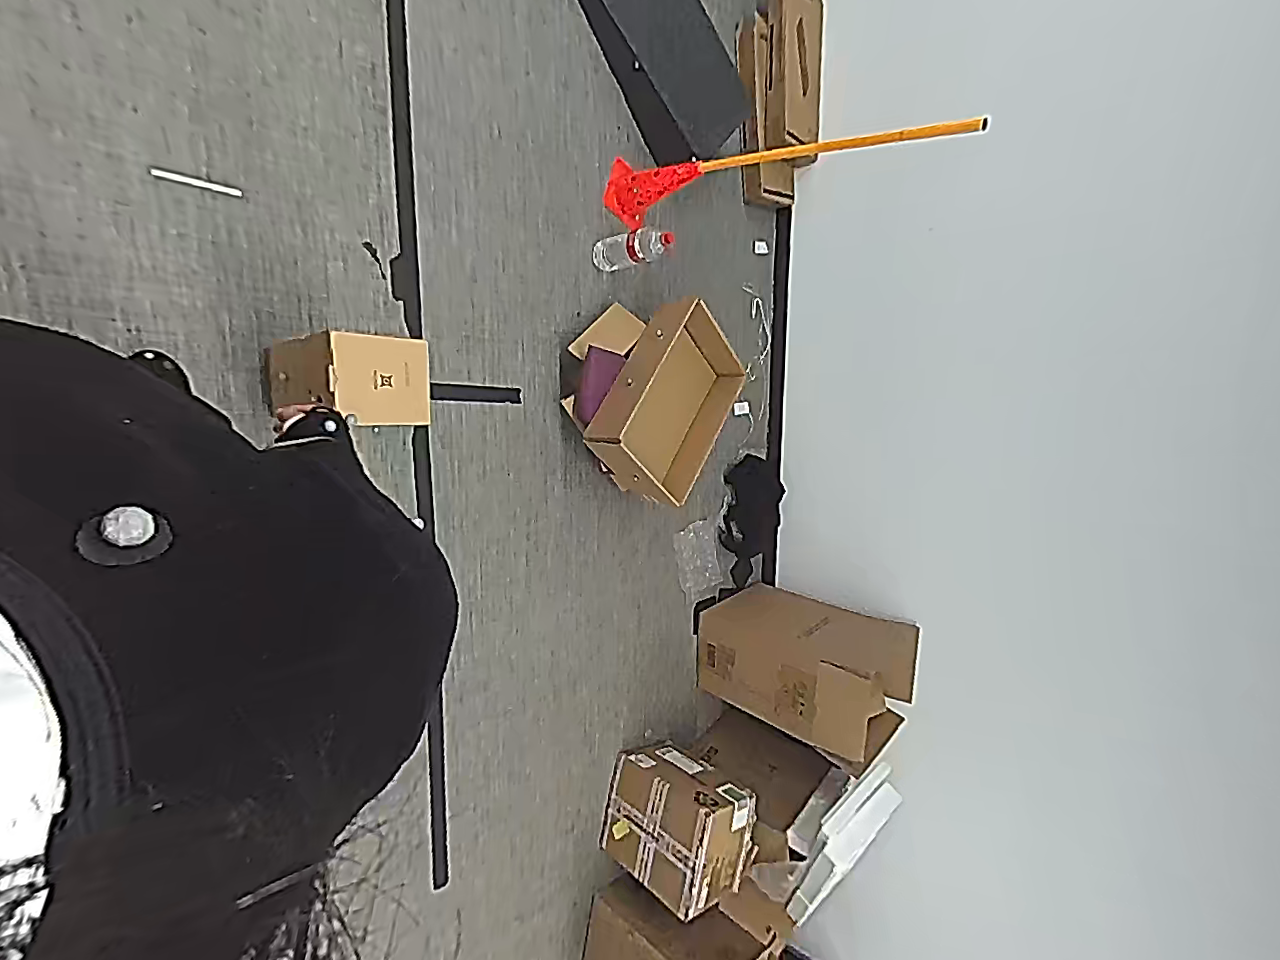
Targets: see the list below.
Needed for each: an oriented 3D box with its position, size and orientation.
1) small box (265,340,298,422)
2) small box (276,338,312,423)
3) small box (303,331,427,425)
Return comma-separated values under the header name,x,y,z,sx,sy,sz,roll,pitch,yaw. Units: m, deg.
name,x,y,z,sx,sy,sz,roll,pitch,yaw
small box,-0.772,-0.227,1.281,0.168,0.176,0.179,-6,100,-45
small box,-0.658,-0.208,1.164,0.179,0.176,0.168,-6,100,-45
small box,-0.539,-0.190,1.054,0.179,0.176,0.168,-8,102,-46
